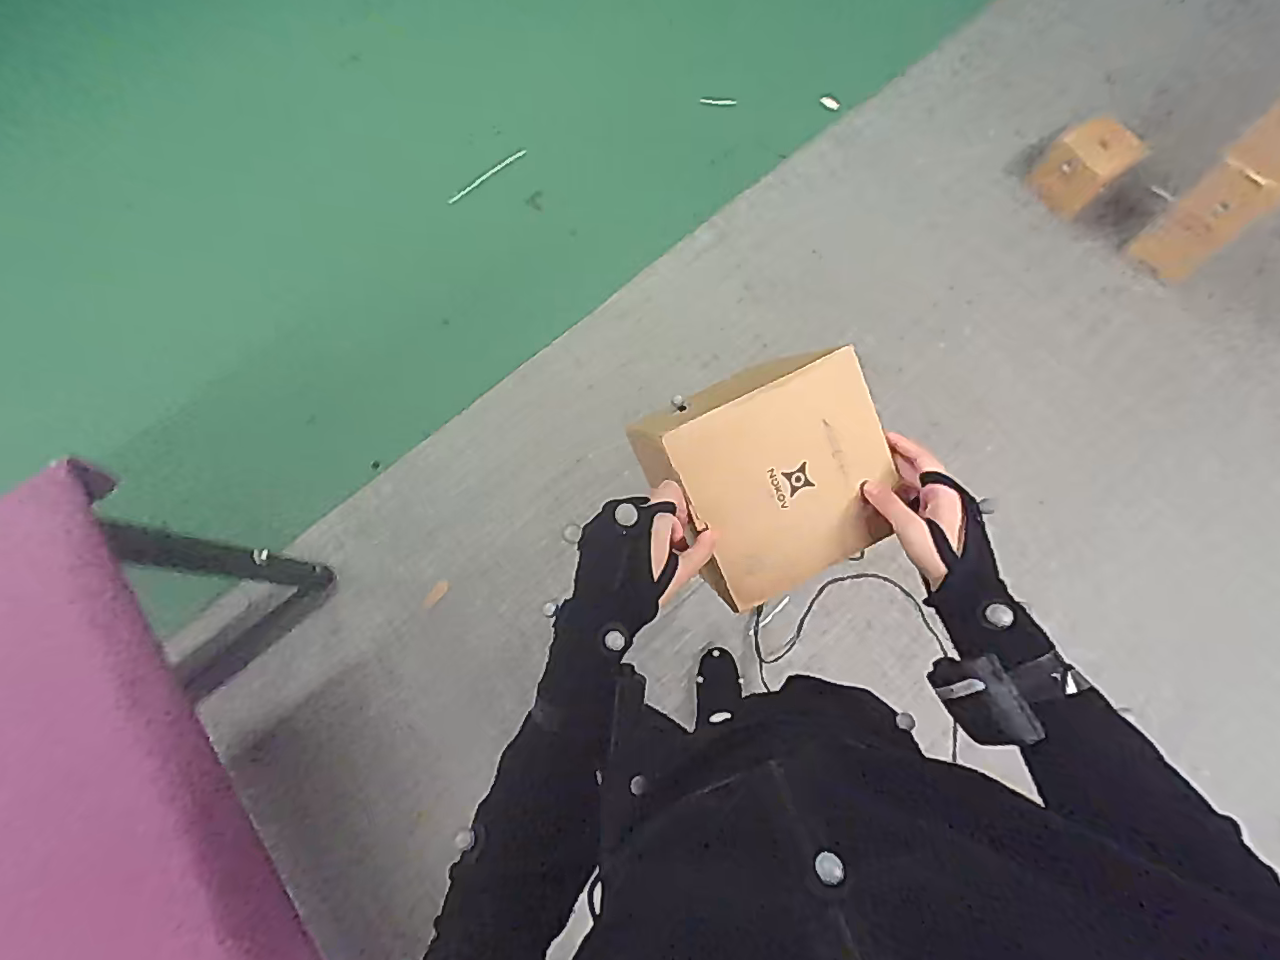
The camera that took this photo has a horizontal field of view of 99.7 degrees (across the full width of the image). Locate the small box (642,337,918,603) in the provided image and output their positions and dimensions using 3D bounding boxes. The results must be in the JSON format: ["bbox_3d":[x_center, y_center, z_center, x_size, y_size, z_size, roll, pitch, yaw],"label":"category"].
[{"bbox_3d":[0.112,-0.016,0.508,0.179,0.176,0.168,-25,102,-6],"label":"small box"}]

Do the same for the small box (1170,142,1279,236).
[{"bbox_3d":[1.473,-0.740,1.322,0.179,0.176,0.168,-43,75,-8],"label":"small box"}]

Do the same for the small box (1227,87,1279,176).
[{"bbox_3d":[1.460,-0.798,1.168,0.168,0.176,0.179,-42,75,-8],"label":"small box"}]

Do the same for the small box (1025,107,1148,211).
[{"bbox_3d":[1.278,-0.913,1.561,0.168,0.176,0.179,-29,72,-4],"label":"small box"}]
